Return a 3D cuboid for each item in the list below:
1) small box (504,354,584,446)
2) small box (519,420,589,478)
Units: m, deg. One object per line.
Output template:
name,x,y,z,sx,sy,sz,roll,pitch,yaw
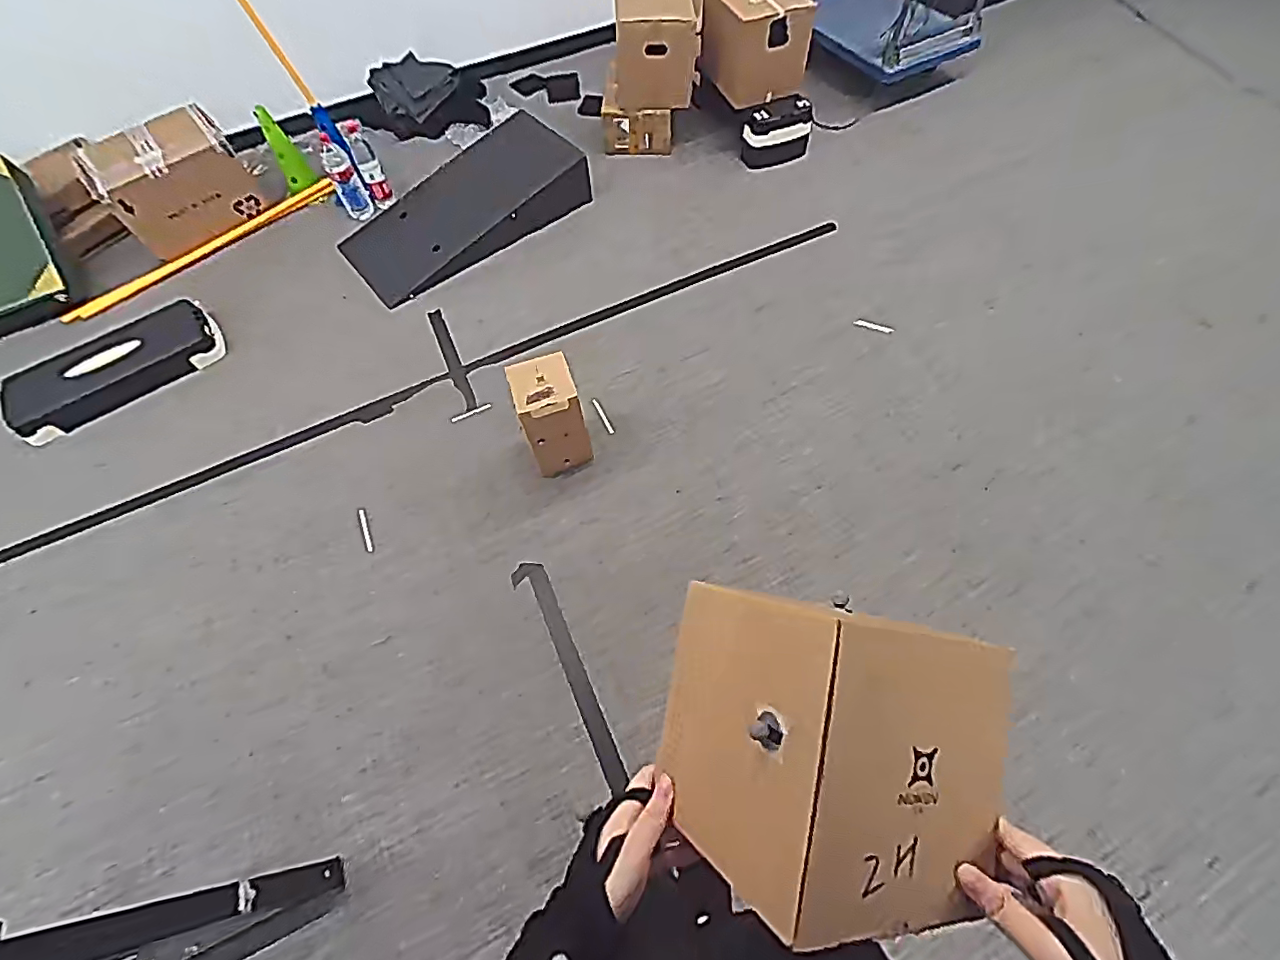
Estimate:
small box,-0.262,-0.213,1.500,0.168,0.176,0.179,-18,60,-7
small box,-0.261,-0.134,1.645,0.179,0.176,0.168,-22,62,-10
